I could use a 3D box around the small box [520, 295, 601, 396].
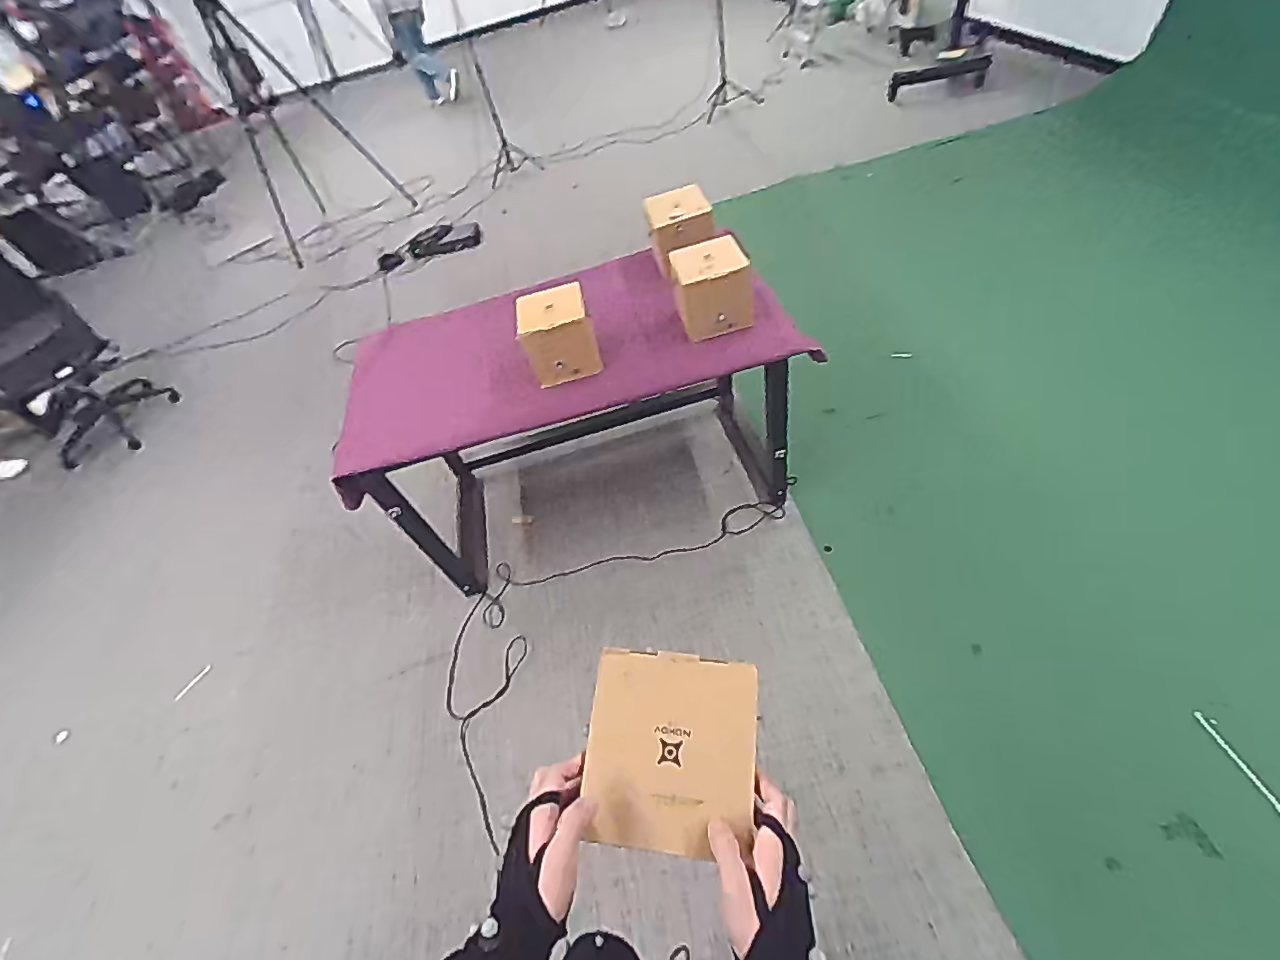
[{"bbox_3d":[-0.205,-0.345,1.393,0.168,0.176,0.179,-14,48,1],"label":"small box"}]

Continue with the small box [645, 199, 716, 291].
[{"bbox_3d":[0.122,-0.693,1.601,0.168,0.176,0.179,-17,50,2],"label":"small box"}]

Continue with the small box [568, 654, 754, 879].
[{"bbox_3d":[0.028,0.303,0.595,0.168,0.176,0.179,5,65,6],"label":"small box"}]

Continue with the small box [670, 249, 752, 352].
[{"bbox_3d":[0.183,-0.458,1.389,0.168,0.176,0.179,-15,48,3],"label":"small box"}]
